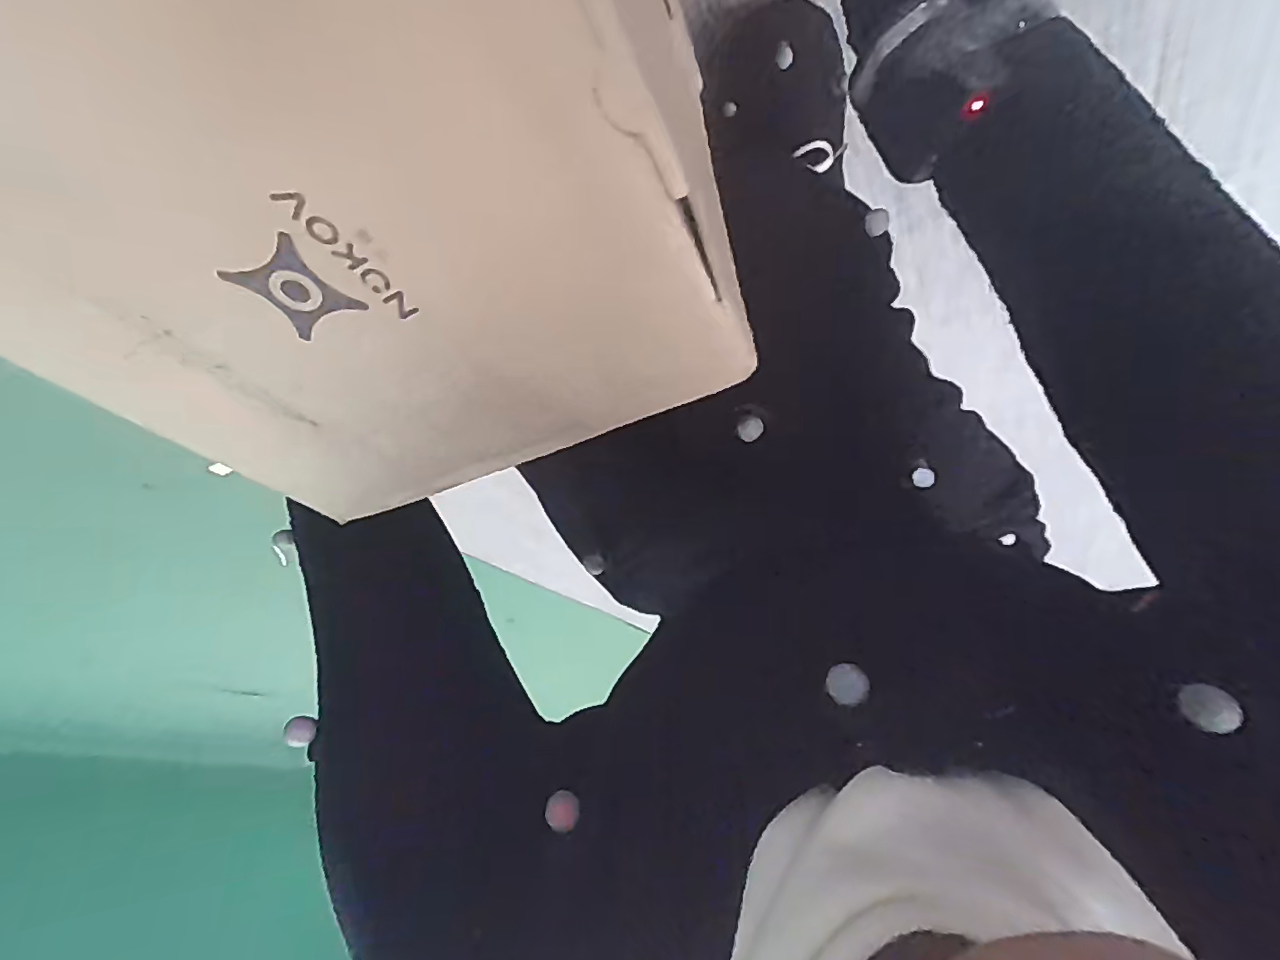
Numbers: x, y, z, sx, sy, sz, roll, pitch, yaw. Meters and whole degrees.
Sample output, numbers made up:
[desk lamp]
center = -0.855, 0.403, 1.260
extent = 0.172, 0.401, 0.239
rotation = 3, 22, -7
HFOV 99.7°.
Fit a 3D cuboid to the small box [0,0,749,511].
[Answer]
[small box]
center = -0.081, -0.116, 0.177
extent = 0.179, 0.176, 0.168
rotation = -16, 144, 22
